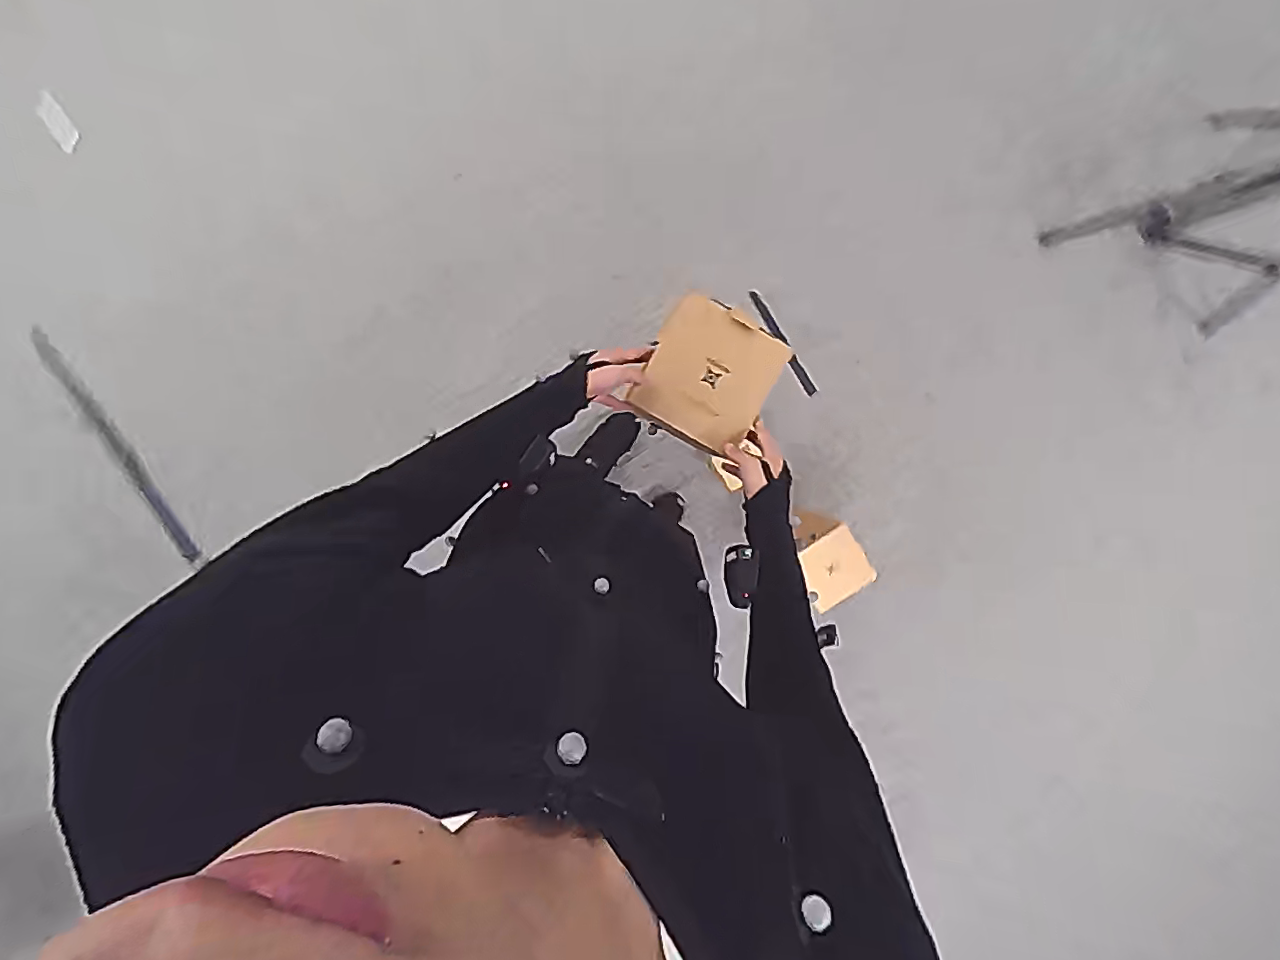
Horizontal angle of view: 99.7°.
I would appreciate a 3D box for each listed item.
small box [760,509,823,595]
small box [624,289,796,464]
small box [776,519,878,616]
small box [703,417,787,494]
[{"bbox_3d":[0.468,0.204,1.580,0.179,0.176,0.168,-34,96,0],"label":"small box"},{"bbox_3d":[0.088,-0.143,0.786,0.168,0.176,0.179,28,92,-10],"label":"small box"},{"bbox_3d":[0.477,0.222,1.418,0.179,0.176,0.168,-33,96,0],"label":"small box"},{"bbox_3d":[0.285,-0.080,1.544,0.179,0.176,0.168,-30,96,1],"label":"small box"}]
